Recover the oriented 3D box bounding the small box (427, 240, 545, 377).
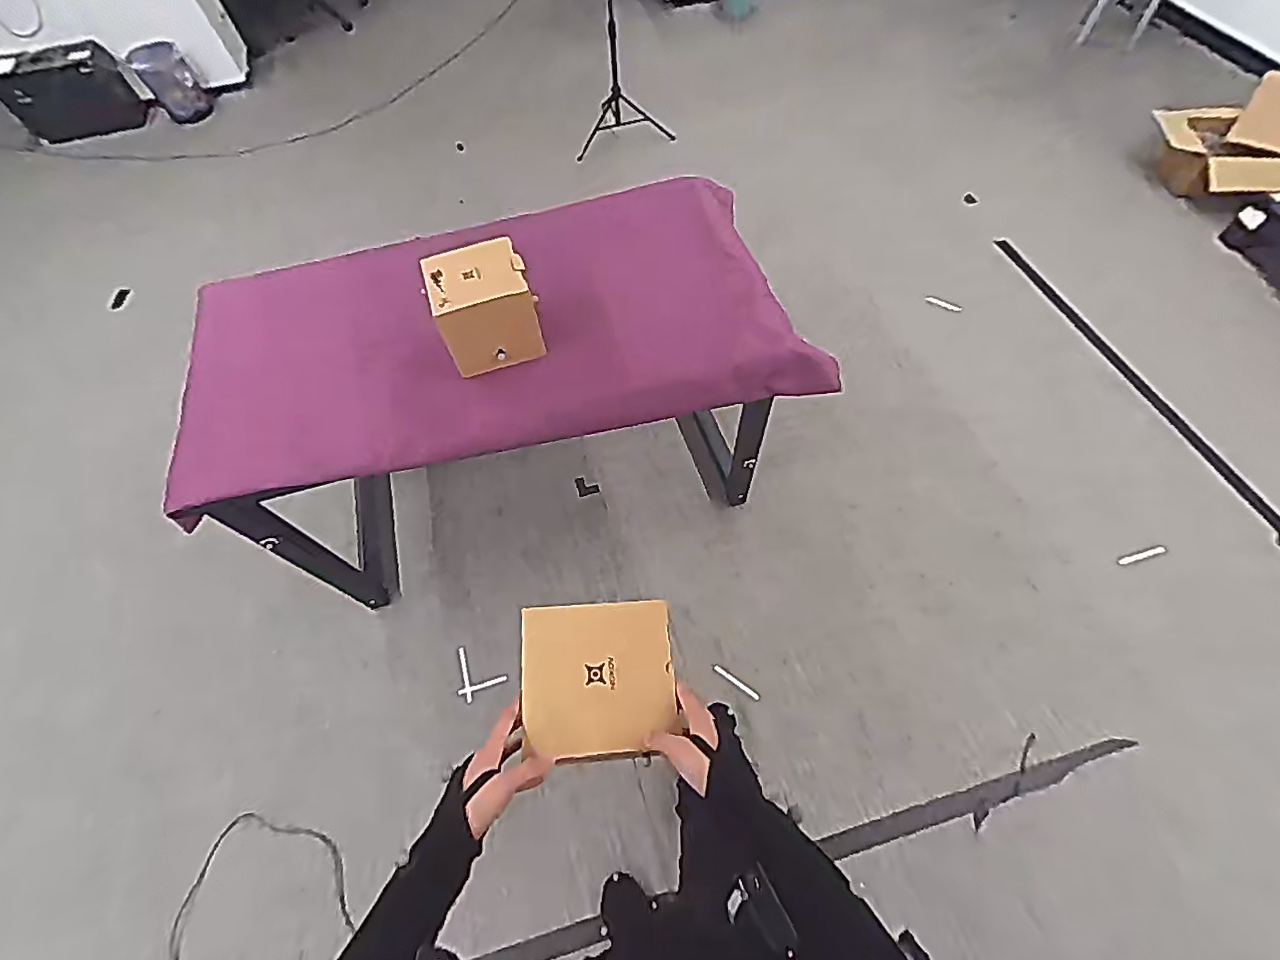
[{"bbox_3d":[-0.293,-0.330,1.056,0.179,0.176,0.168,-17,60,-8],"label":"small box"}]

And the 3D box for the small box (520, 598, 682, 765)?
[{"bbox_3d":[-0.055,0.257,0.680,0.179,0.176,0.168,-1,61,-9],"label":"small box"}]
